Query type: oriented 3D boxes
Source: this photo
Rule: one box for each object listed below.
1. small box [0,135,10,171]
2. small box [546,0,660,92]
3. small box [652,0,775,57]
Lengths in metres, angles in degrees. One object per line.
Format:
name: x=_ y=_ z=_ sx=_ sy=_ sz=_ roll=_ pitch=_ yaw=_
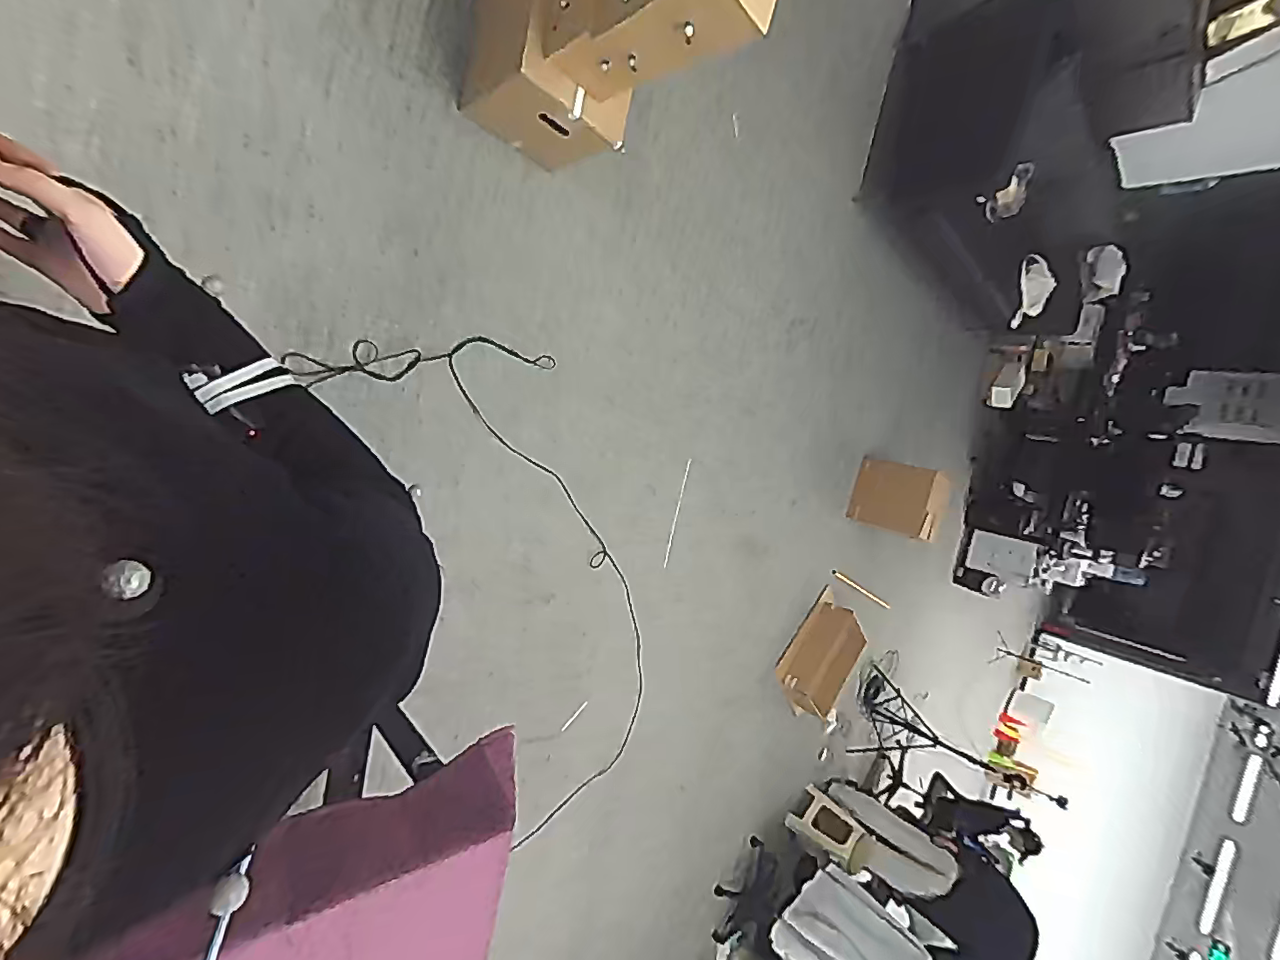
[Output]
small box: x=-0.479 y=-0.217 z=0.255 sx=0.168 sy=0.176 sz=0.179 roll=-34 pitch=132 yaw=-21
small box: x=-0.083 y=-1.015 z=1.216 sx=0.179 sy=0.176 sz=0.168 roll=7 pitch=97 yaw=-44
small box: x=0.142 y=-0.935 z=0.988 sx=0.168 sy=0.176 sz=0.179 roll=12 pitch=95 yaw=-44
